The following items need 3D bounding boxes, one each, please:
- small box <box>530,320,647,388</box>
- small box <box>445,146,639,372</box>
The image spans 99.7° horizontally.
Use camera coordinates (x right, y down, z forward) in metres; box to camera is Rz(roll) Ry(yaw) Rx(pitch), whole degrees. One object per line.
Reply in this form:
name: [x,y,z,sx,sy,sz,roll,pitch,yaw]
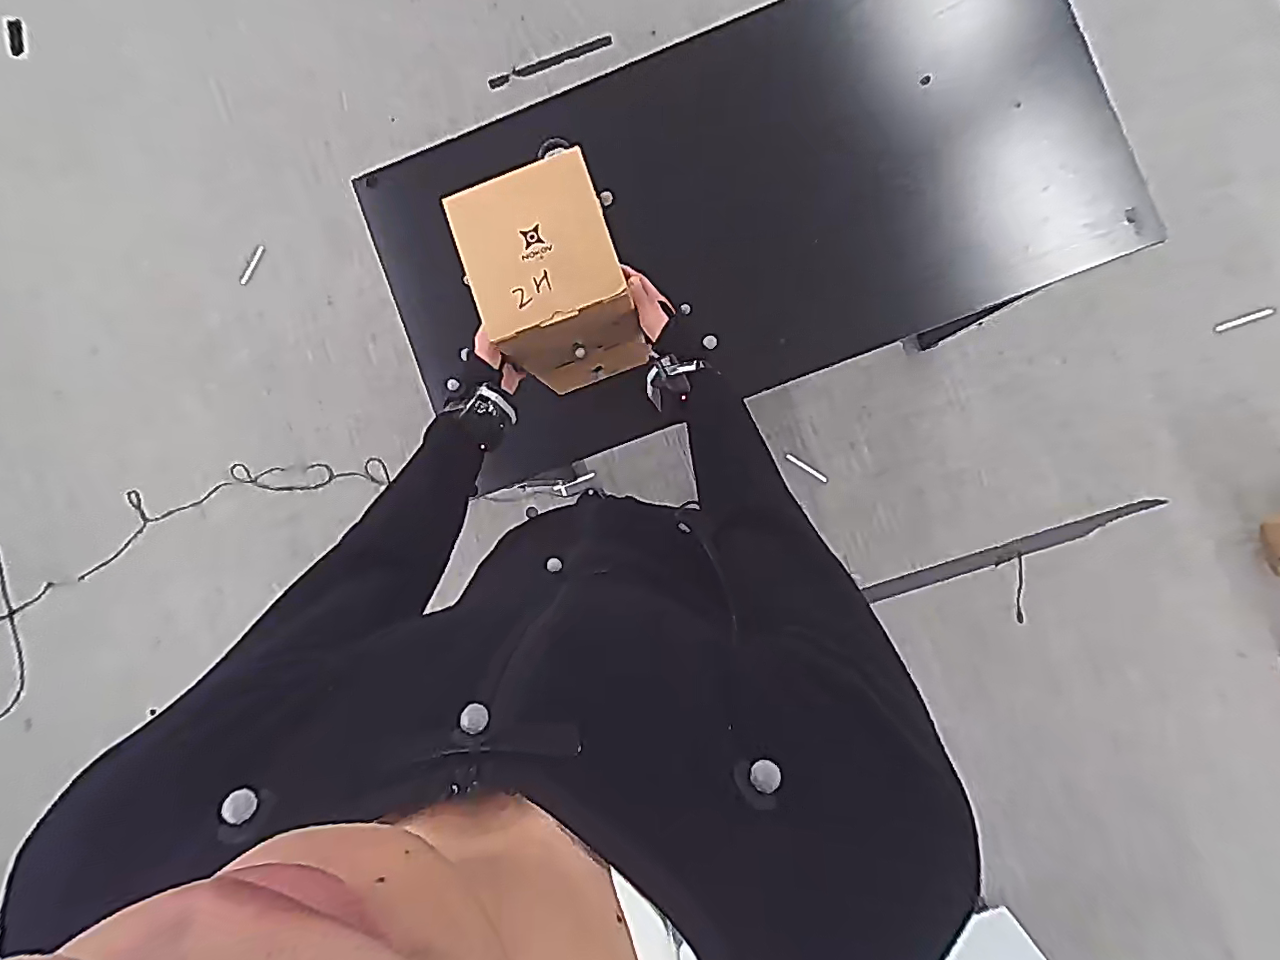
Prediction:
small box: [-0.093,-0.251,0.830,0.168,0.176,0.179,-20,89,4]
small box: [-0.107,-0.253,0.663,0.168,0.176,0.179,-18,86,4]
